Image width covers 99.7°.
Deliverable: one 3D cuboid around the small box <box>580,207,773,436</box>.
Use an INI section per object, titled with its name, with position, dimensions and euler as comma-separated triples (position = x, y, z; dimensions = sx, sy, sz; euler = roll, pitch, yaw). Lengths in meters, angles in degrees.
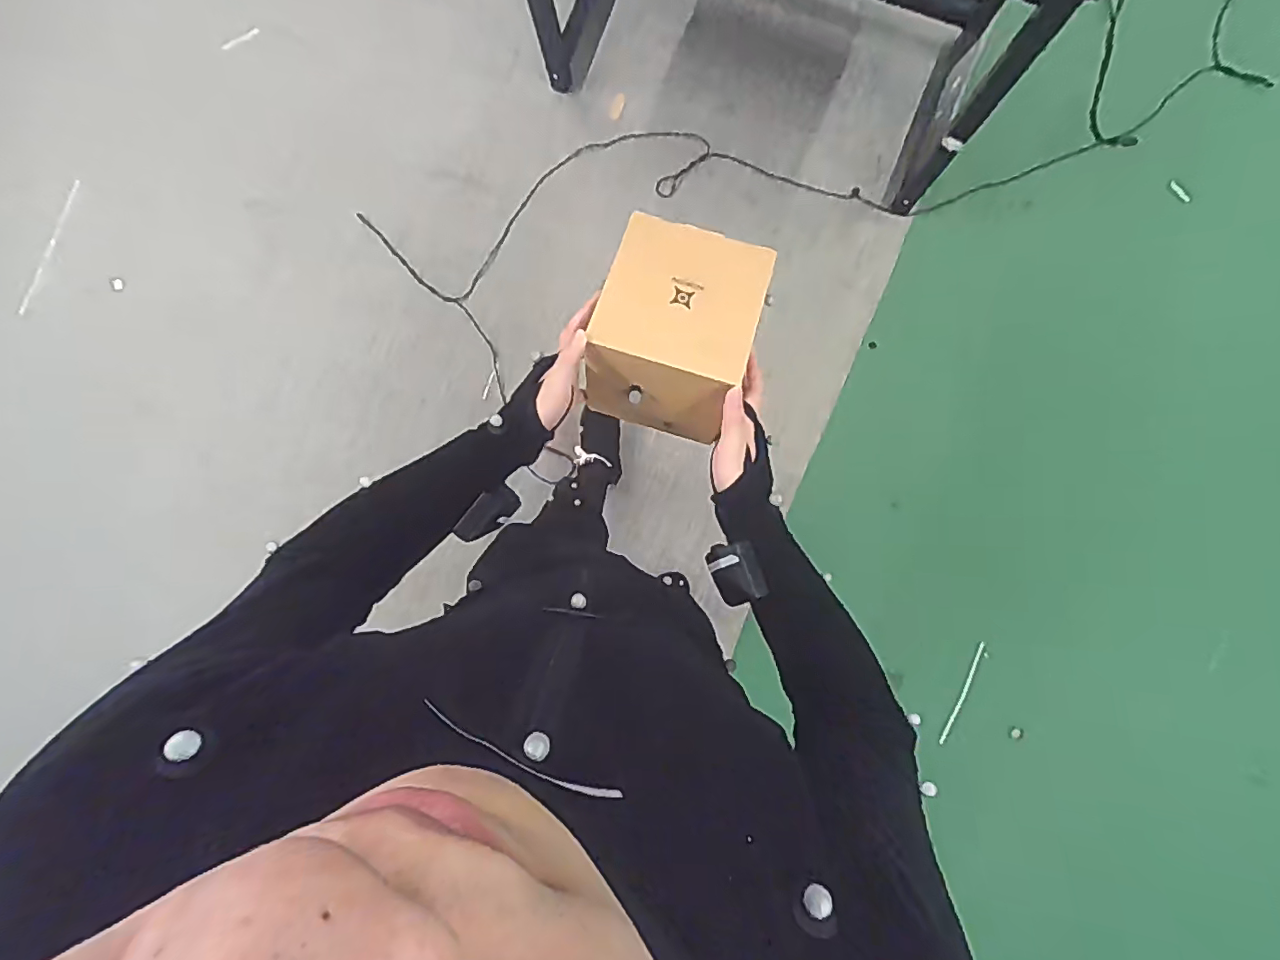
[small box]
position = 0.039, -0.173, 0.636
dimensions = 0.168, 0.176, 0.179
euler = 17, 72, 2
